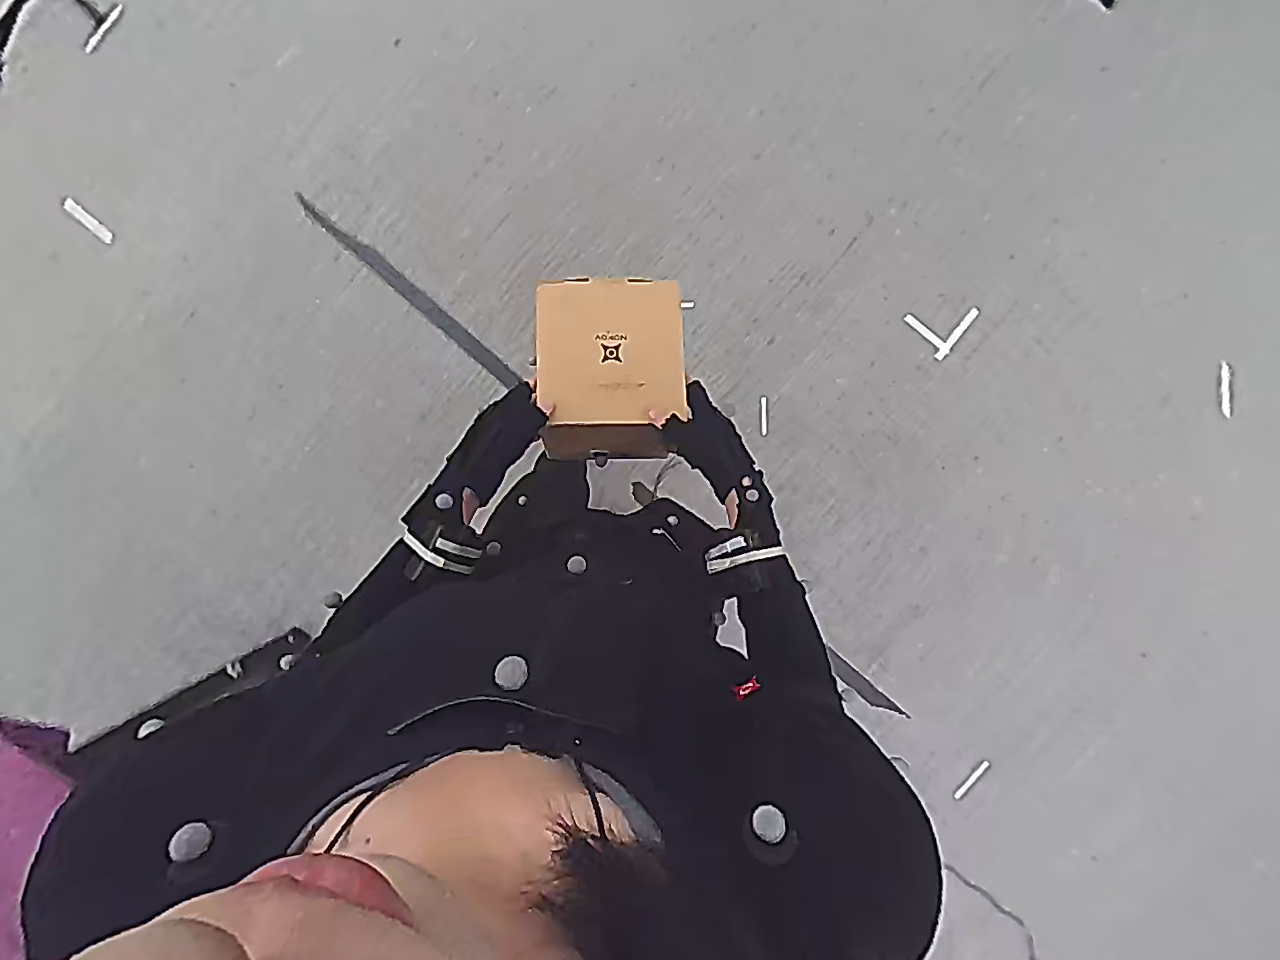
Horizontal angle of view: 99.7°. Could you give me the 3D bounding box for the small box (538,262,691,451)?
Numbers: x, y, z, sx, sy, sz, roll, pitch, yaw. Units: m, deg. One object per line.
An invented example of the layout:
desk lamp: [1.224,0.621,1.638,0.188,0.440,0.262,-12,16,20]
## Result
small box: [-0.034,-0.142,0.667,0.168,0.176,0.179,-1,79,-4]
